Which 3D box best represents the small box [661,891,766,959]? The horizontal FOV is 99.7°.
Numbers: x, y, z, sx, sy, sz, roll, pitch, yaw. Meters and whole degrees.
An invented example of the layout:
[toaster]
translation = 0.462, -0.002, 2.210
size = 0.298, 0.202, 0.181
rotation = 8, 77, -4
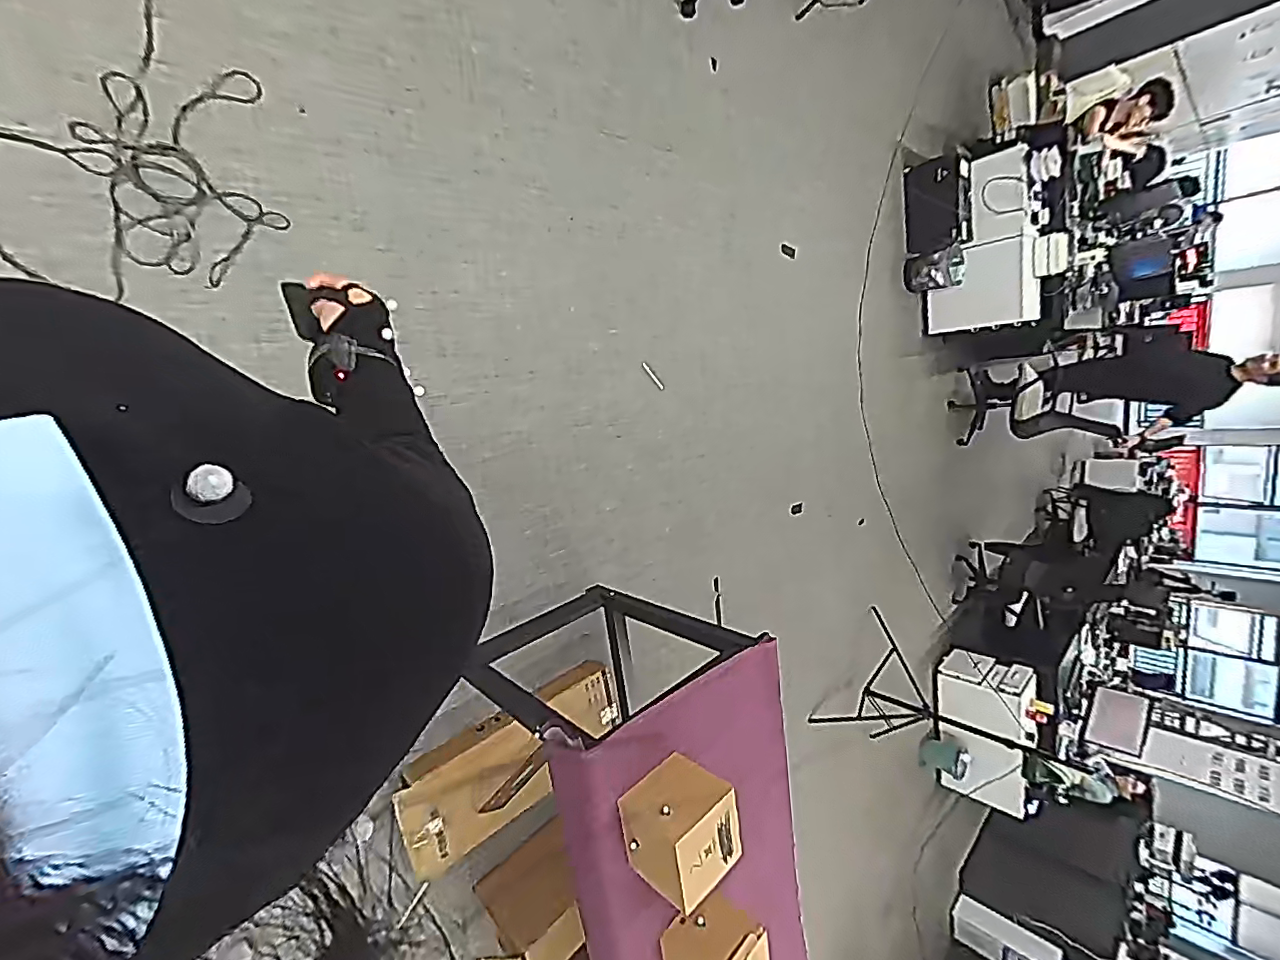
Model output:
[small box]
translation = 0.166, 1.085, 1.207
size = 0.168, 0.176, 0.179
rotation = -20, 106, -42
